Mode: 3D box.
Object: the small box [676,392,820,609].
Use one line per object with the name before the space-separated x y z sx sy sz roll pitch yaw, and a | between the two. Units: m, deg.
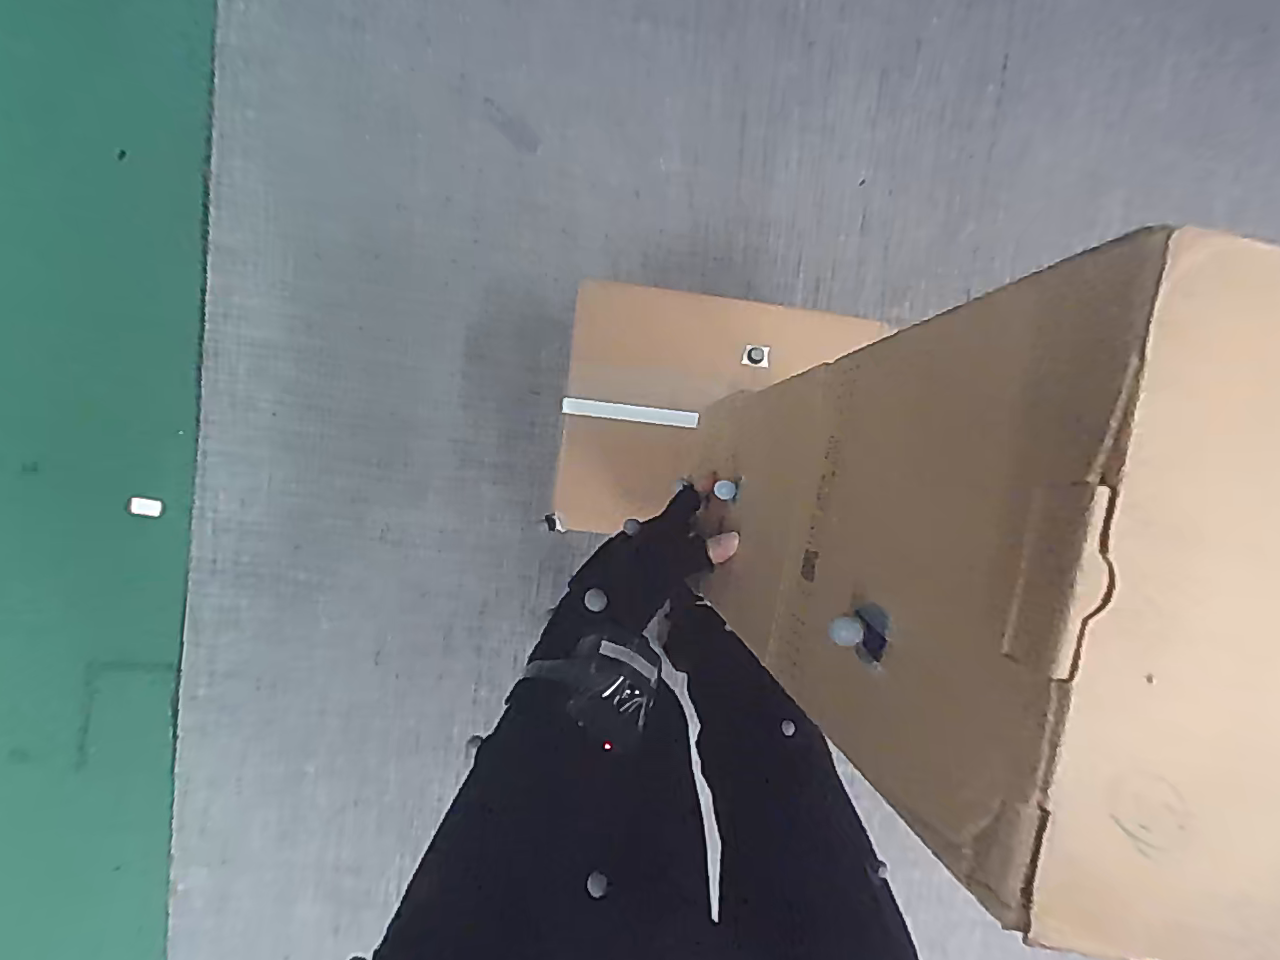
small box | 0.135 0.023 0.537 0.168 0.176 0.179 11 91 -3
